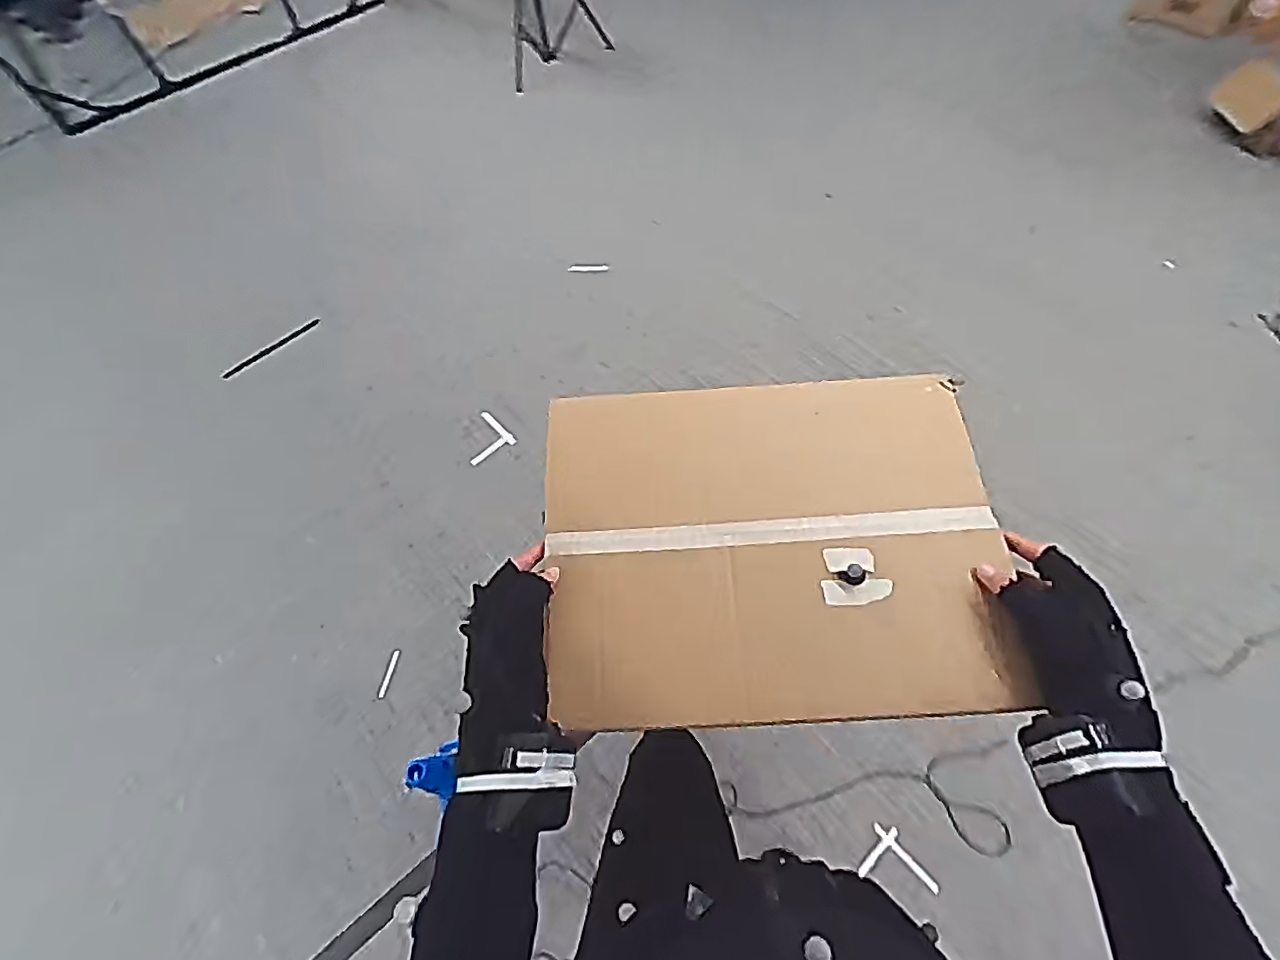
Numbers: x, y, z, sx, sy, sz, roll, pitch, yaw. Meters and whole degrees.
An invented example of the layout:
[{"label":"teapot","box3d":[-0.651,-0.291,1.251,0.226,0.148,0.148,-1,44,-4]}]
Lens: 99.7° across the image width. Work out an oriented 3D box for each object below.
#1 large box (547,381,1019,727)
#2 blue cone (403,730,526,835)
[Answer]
[{"label":"large box","box3d":[0.115,0.111,0.646,0.408,0.320,0.320,-4,67,1]},{"label":"blue cone","box3d":[-0.392,0.640,1.159,0.192,0.380,0.193,-19,60,-4]}]
